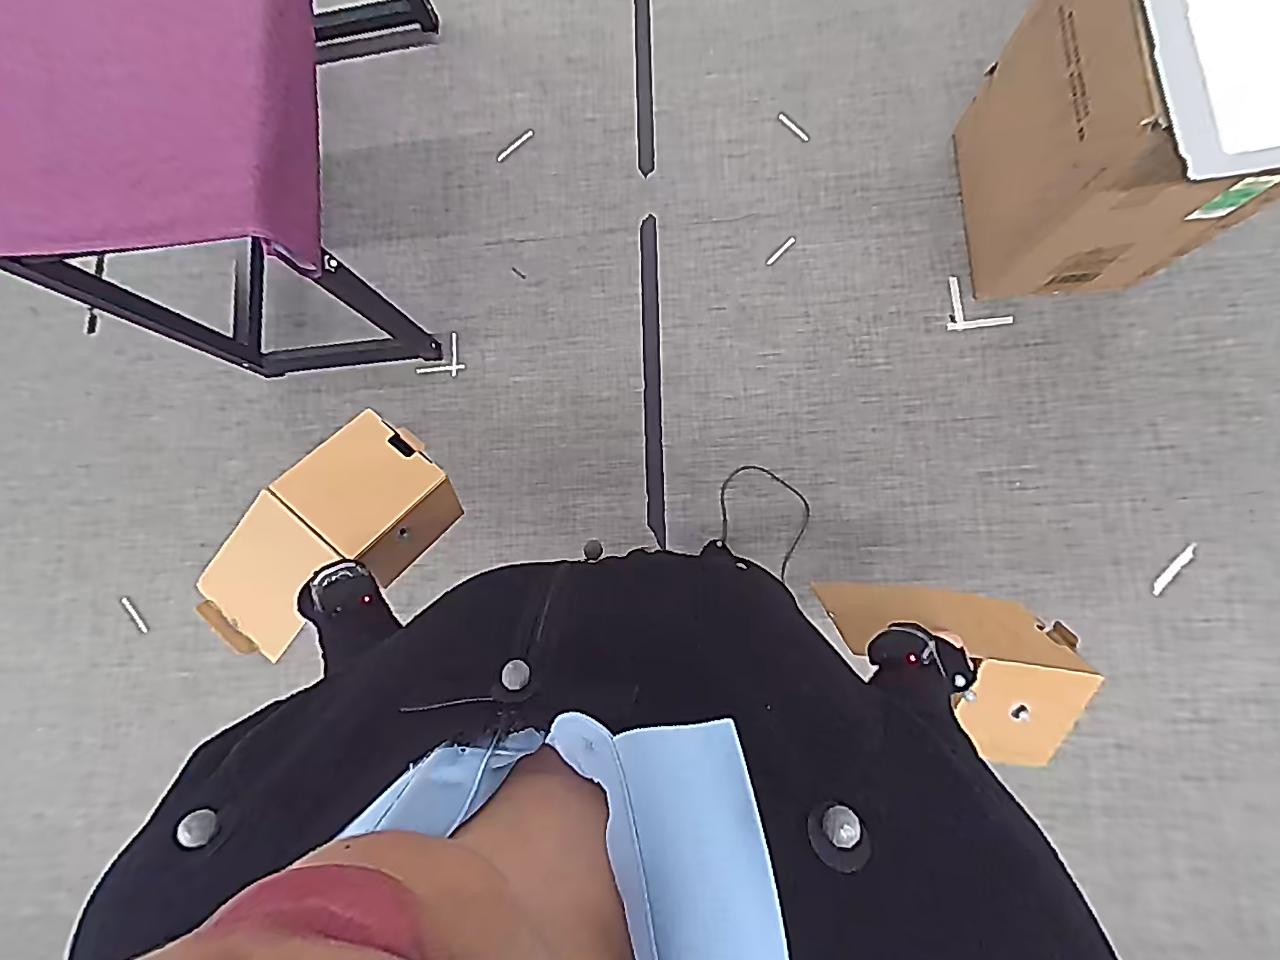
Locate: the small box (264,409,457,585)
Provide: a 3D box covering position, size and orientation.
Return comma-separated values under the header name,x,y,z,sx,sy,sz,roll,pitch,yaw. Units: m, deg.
name,x,y,z,sx,sy,sz,roll,pitch,yaw
small box,-0.403,0.035,0.818,0.168,0.176,0.179,39,66,8
